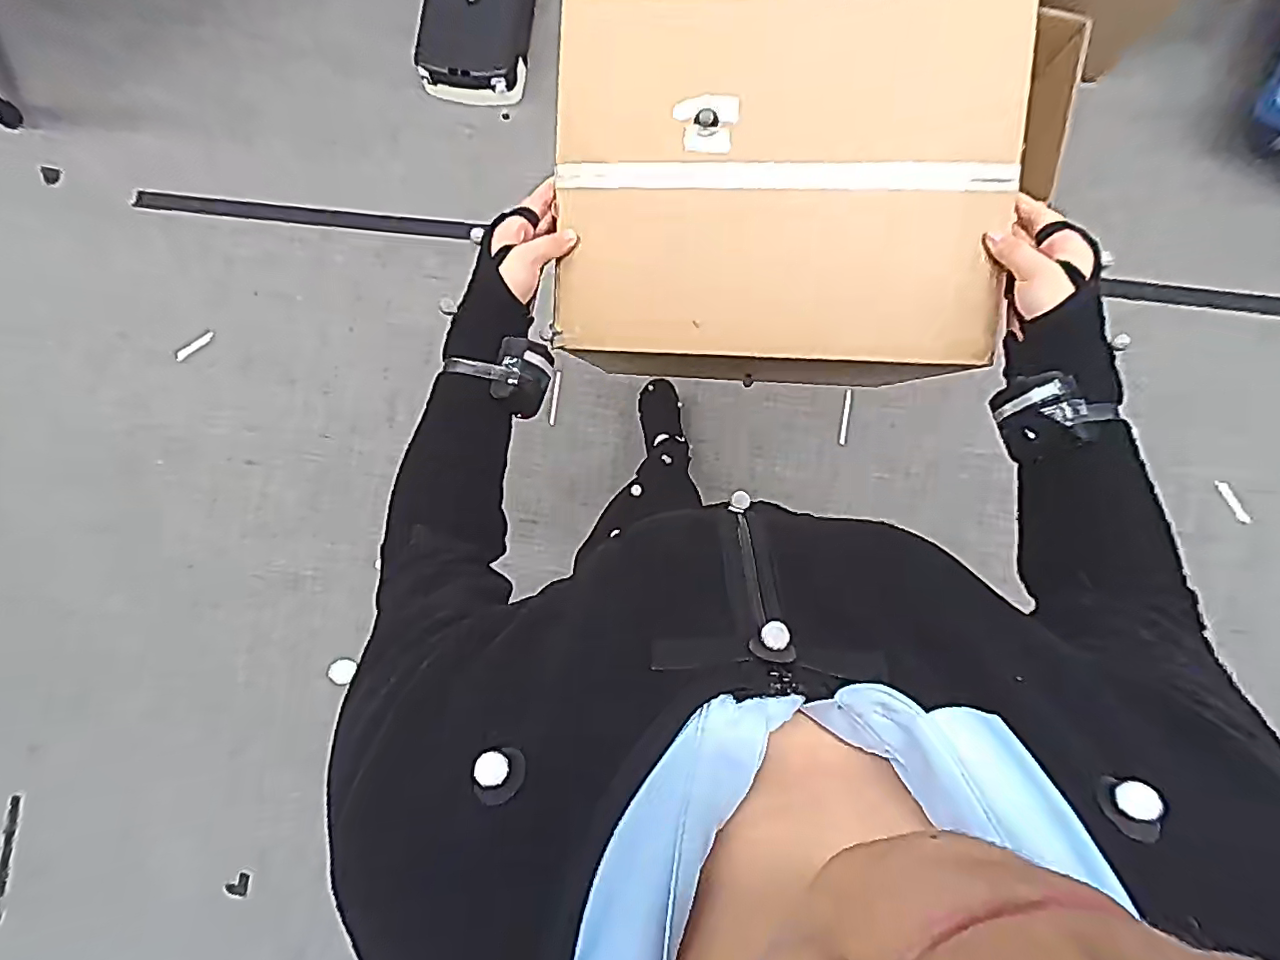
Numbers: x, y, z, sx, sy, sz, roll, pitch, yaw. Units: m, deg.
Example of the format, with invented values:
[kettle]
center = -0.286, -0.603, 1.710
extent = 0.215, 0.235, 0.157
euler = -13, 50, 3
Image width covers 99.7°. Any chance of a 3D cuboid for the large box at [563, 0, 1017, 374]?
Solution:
[large box]
center = 0.143, -0.294, 0.646
extent = 0.408, 0.320, 0.320
euler = 3, 95, 6
